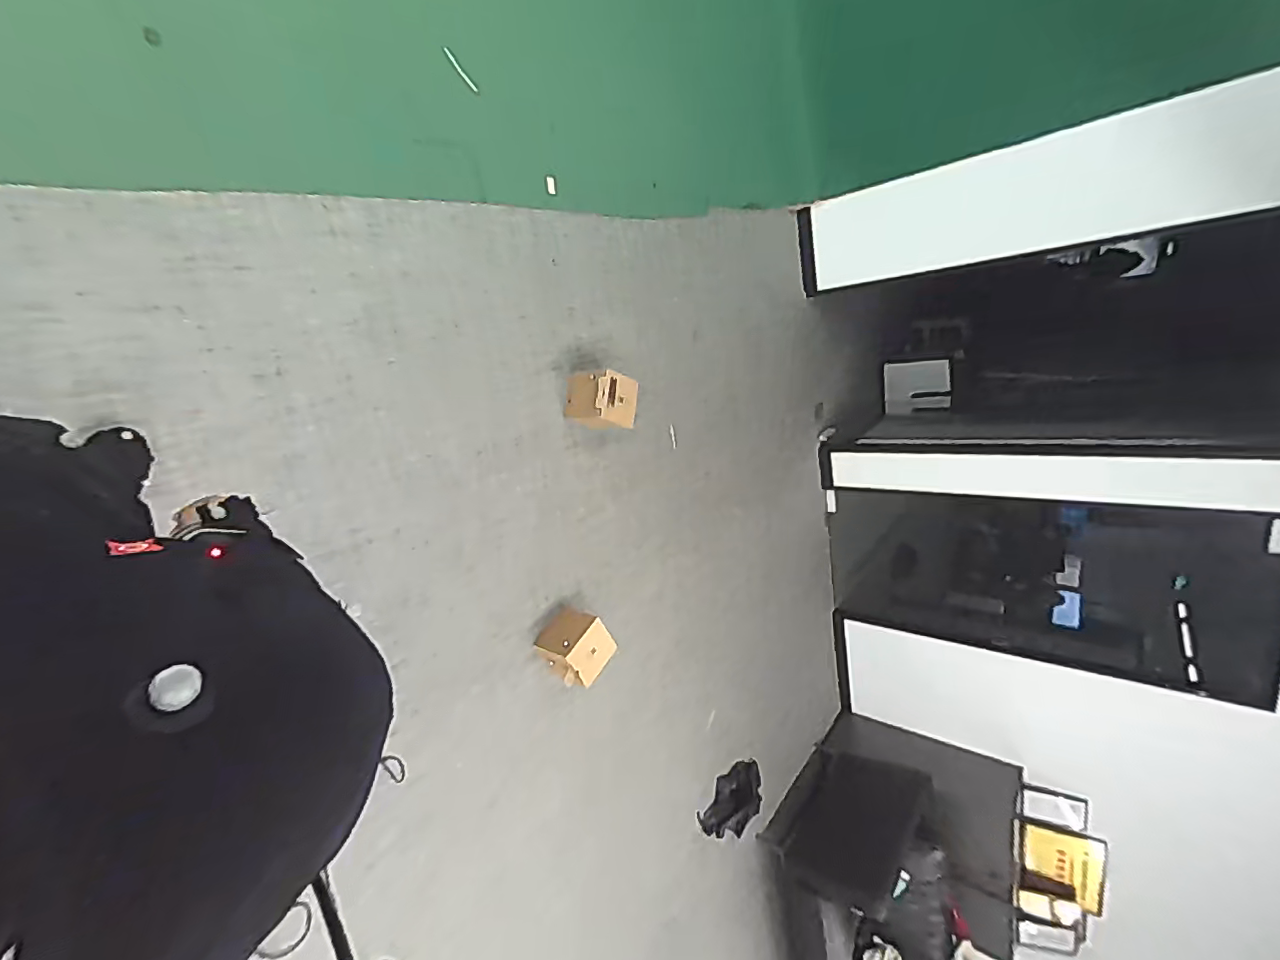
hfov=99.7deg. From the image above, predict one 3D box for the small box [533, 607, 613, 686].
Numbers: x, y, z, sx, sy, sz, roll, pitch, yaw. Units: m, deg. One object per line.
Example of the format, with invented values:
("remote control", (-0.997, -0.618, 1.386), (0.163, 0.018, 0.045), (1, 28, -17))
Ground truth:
("small box", (-0.228, 0.555, 1.833), (0.179, 0.176, 0.168), (-49, 127, -34))
